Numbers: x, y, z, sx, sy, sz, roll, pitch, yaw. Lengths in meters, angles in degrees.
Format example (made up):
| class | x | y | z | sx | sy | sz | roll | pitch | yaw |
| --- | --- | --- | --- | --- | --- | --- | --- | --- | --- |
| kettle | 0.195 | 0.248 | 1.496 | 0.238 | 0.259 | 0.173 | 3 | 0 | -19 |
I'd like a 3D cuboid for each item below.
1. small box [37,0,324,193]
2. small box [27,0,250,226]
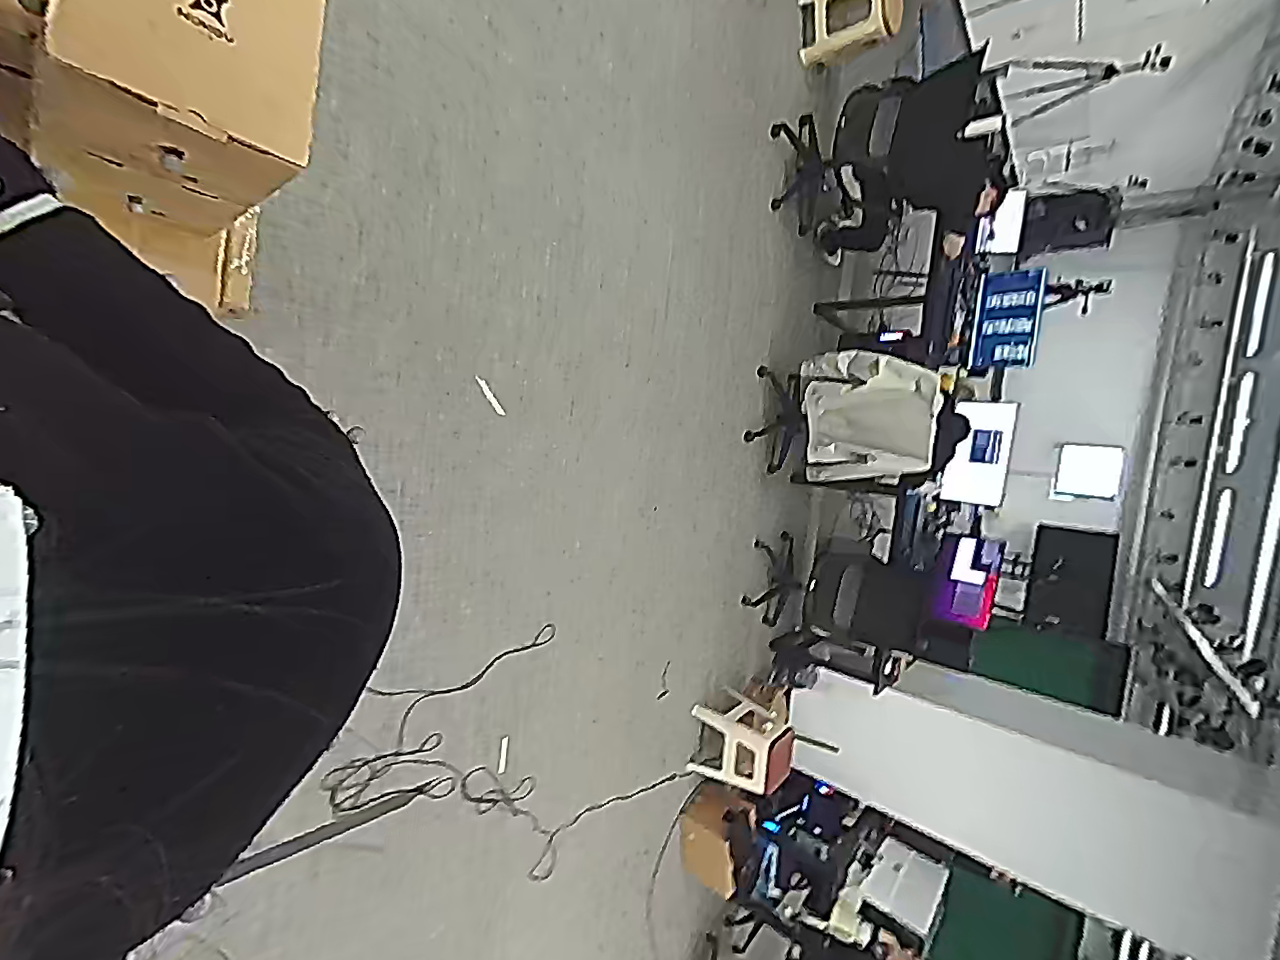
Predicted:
| class | x | y | z | sx | sy | sz | roll | pitch | yaw |
| --- | --- | --- | --- | --- | --- | --- | --- | --- | --- |
| small box | -0.412 | -0.391 | 0.487 | 0.168 | 0.176 | 0.179 | 6 | 93 | -50 |
| small box | -0.539 | -0.407 | 0.590 | 0.168 | 0.176 | 0.179 | 4 | 95 | -49 |
